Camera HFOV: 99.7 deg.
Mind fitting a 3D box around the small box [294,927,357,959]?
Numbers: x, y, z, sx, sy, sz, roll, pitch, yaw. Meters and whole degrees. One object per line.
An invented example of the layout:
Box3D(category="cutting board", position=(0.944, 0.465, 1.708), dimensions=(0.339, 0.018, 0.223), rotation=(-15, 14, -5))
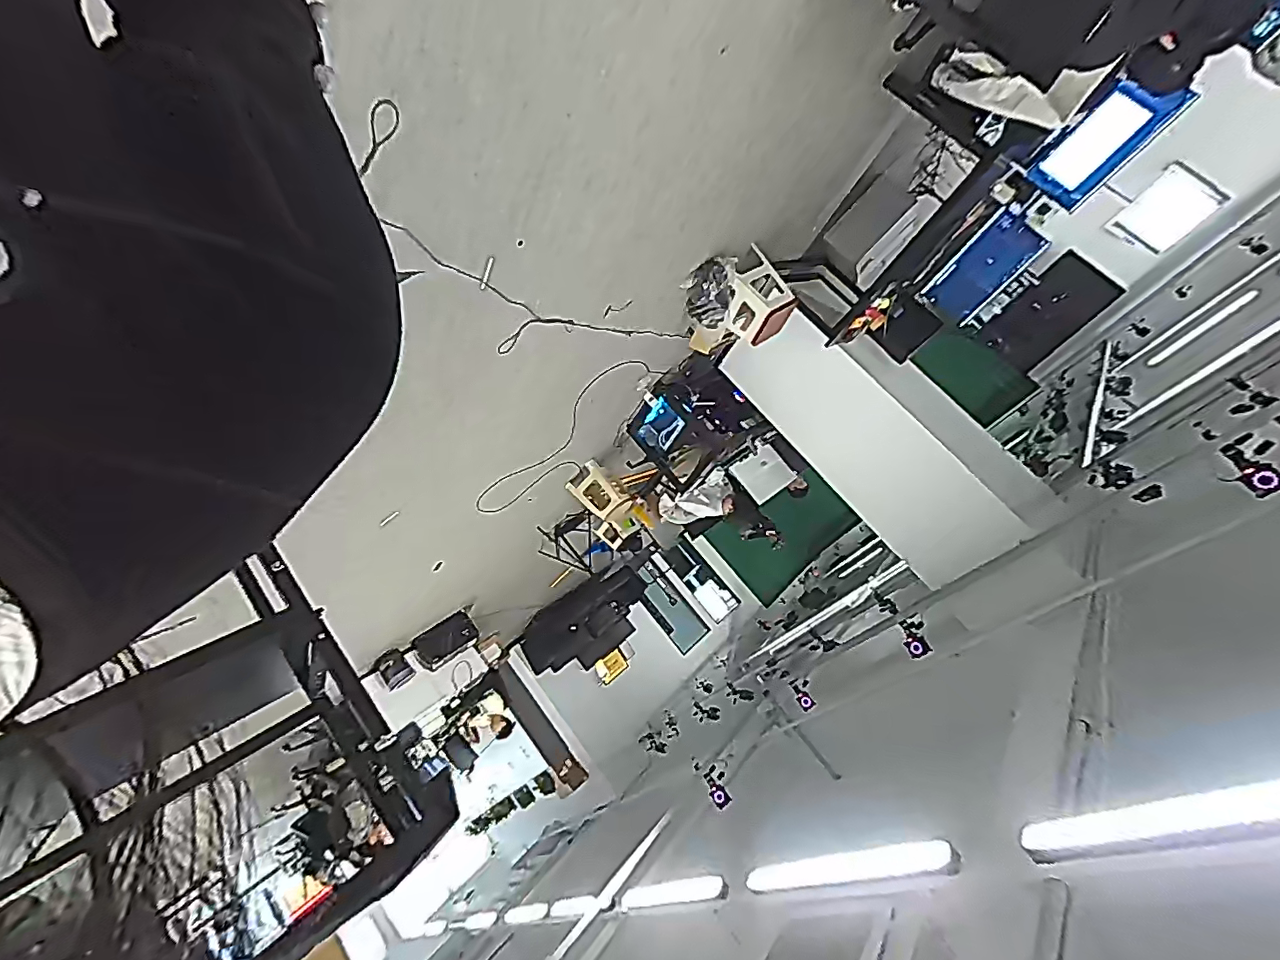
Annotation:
Box3D(category="small box", position=(-0.780, 1.228, 1.303), dimensions=(0.168, 0.176, 0.179), rotation=(-26, 162, -47))
